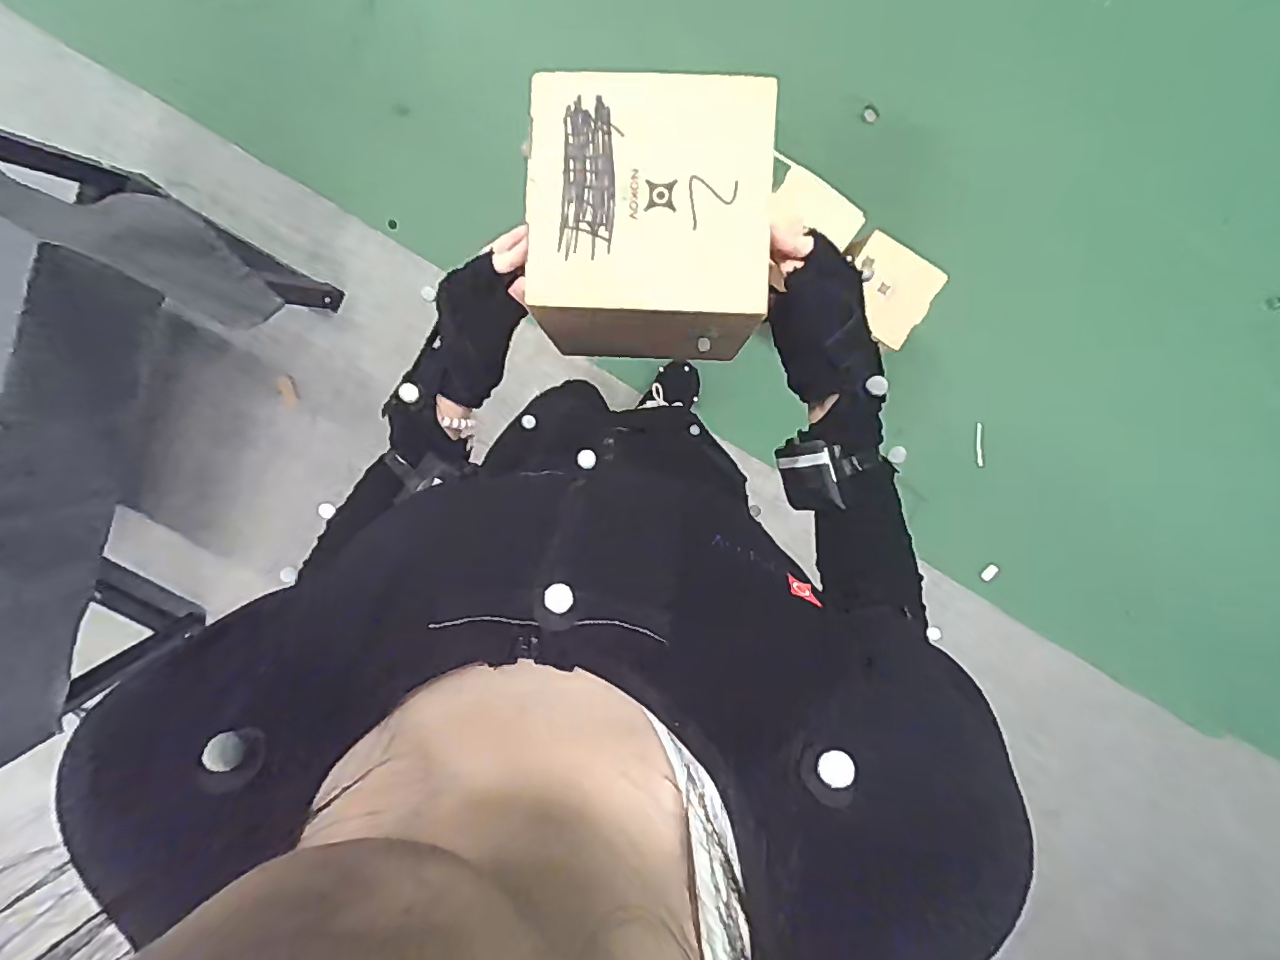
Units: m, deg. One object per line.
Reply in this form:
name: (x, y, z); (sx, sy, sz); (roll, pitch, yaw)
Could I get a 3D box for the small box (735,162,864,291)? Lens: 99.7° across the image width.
small box: (0.318, -0.508, 1.116); (0.179, 0.176, 0.168); (36, 104, -5)

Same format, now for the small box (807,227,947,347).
small box: (0.485, -0.398, 1.134); (0.179, 0.176, 0.168); (30, 103, -6)
